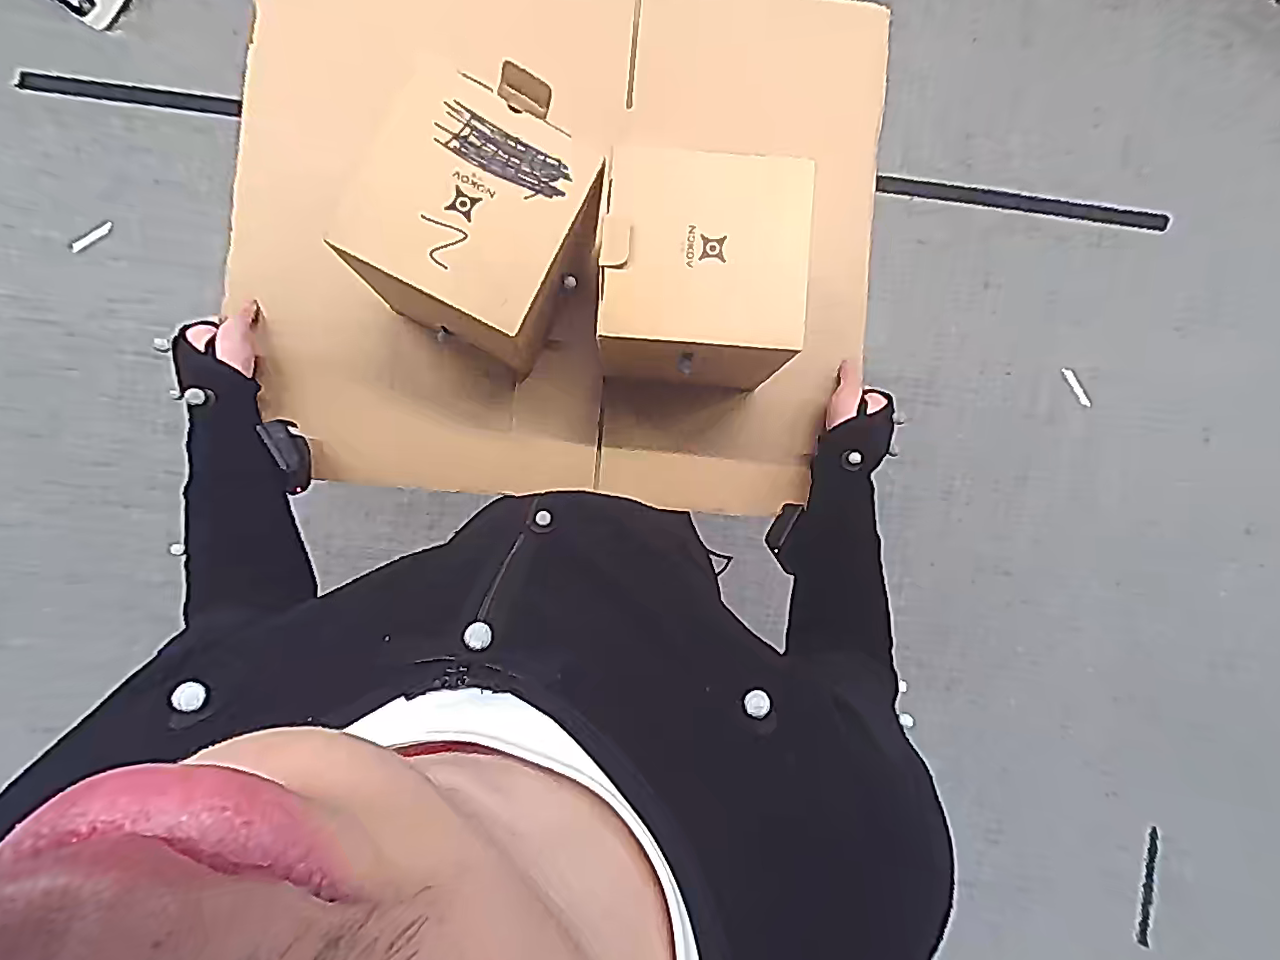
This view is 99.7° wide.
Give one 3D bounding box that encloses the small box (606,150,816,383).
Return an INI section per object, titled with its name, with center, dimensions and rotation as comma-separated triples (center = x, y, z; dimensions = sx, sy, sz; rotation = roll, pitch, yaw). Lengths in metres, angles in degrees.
[small box]
center = 0.061, -0.198, 0.549
dimensions = 0.179, 0.176, 0.168
rotation = 4, 89, -1
